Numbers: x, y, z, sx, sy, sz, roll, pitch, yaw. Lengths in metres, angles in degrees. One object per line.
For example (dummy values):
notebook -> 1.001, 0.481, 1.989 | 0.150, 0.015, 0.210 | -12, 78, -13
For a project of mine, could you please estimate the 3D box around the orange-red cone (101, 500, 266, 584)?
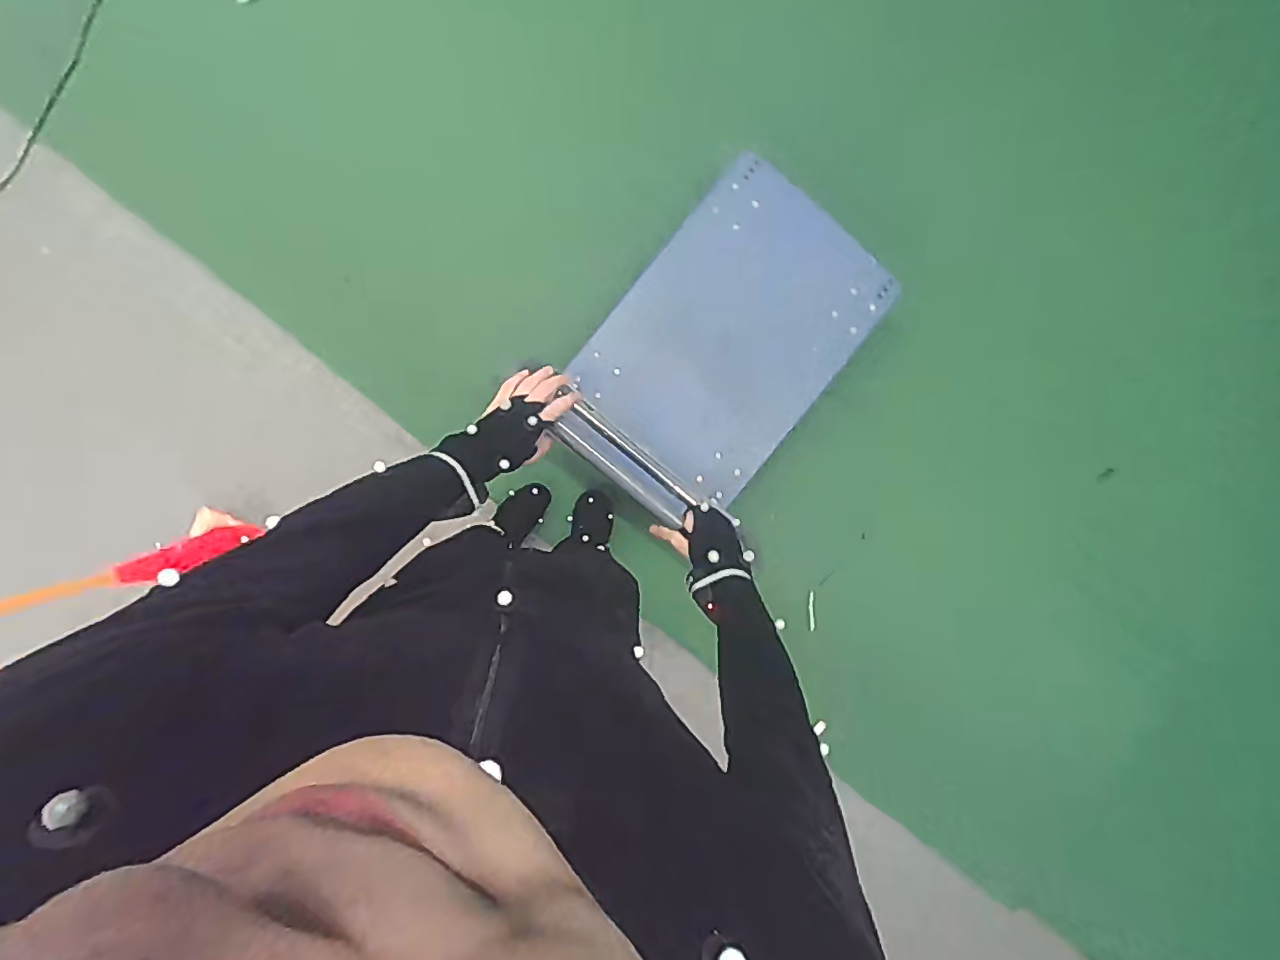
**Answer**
orange-red cone -> -1.194, 0.186, 1.382 | 0.199, 0.360, 0.198 | 25, 91, -3
